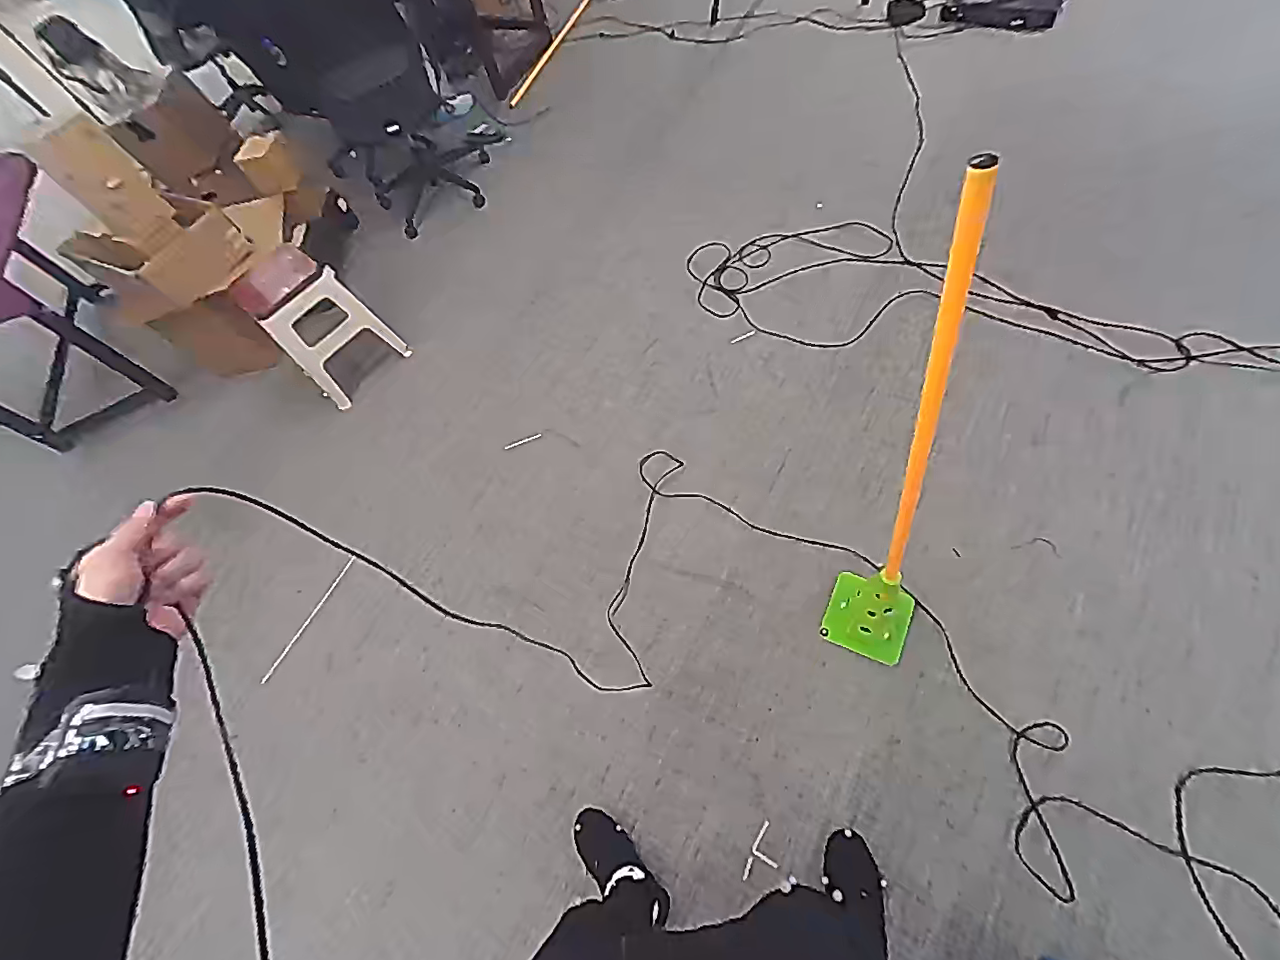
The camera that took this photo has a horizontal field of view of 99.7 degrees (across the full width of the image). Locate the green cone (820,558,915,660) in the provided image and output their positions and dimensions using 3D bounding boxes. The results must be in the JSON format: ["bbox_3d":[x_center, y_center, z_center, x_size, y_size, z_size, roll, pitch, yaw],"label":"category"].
[{"bbox_3d":[0.566,0.270,1.277,0.200,0.368,0.202,19,68,21],"label":"green cone"}]
